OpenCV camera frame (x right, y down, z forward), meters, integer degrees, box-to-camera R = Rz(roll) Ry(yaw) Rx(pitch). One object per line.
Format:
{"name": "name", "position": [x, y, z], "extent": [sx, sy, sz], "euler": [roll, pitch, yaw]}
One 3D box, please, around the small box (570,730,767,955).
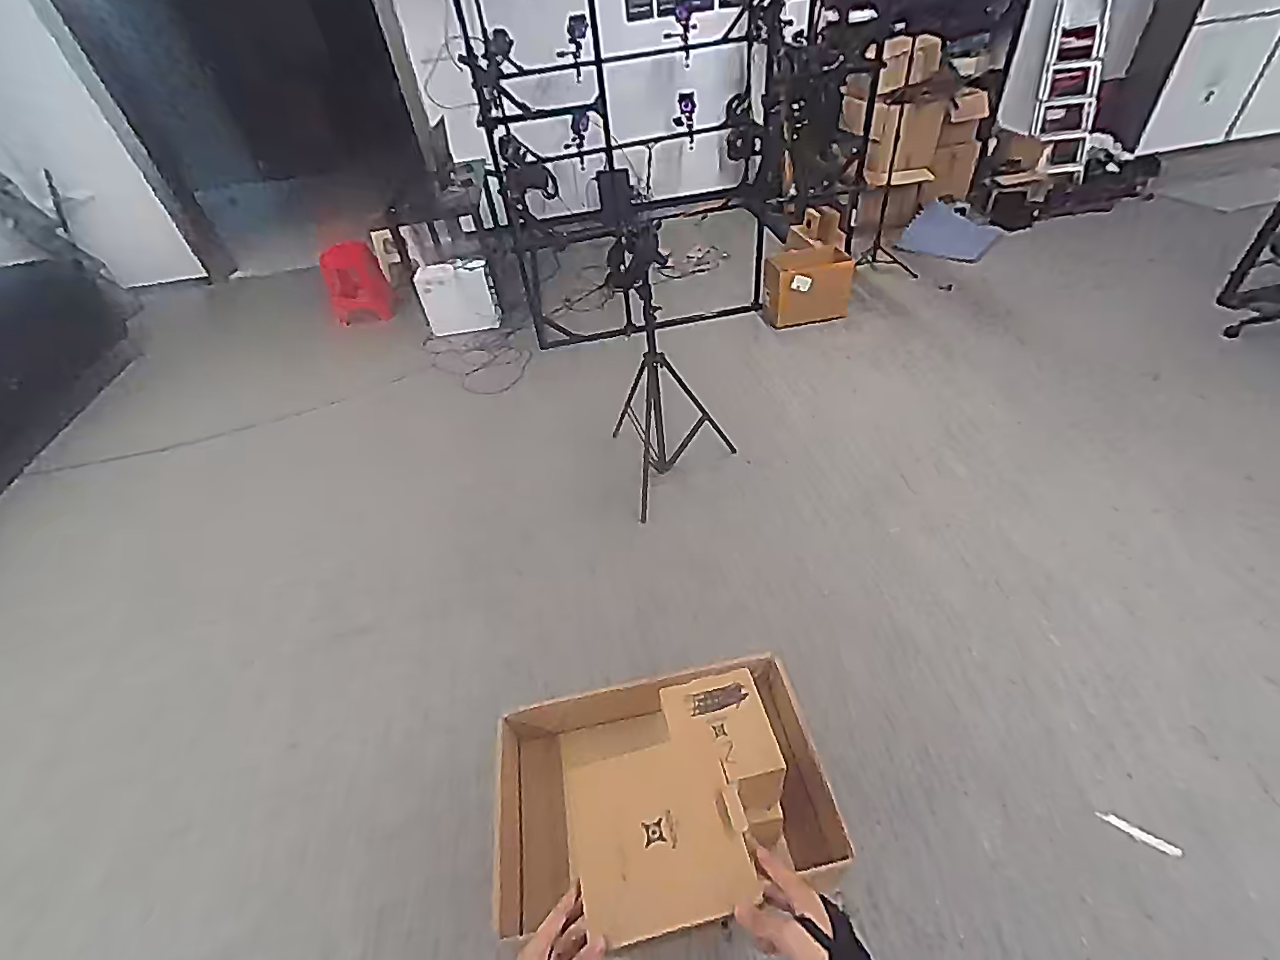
{"name": "small box", "position": [0.029, 0.415, 0.619], "extent": [0.179, 0.176, 0.168], "euler": [-14, 47, -4]}
